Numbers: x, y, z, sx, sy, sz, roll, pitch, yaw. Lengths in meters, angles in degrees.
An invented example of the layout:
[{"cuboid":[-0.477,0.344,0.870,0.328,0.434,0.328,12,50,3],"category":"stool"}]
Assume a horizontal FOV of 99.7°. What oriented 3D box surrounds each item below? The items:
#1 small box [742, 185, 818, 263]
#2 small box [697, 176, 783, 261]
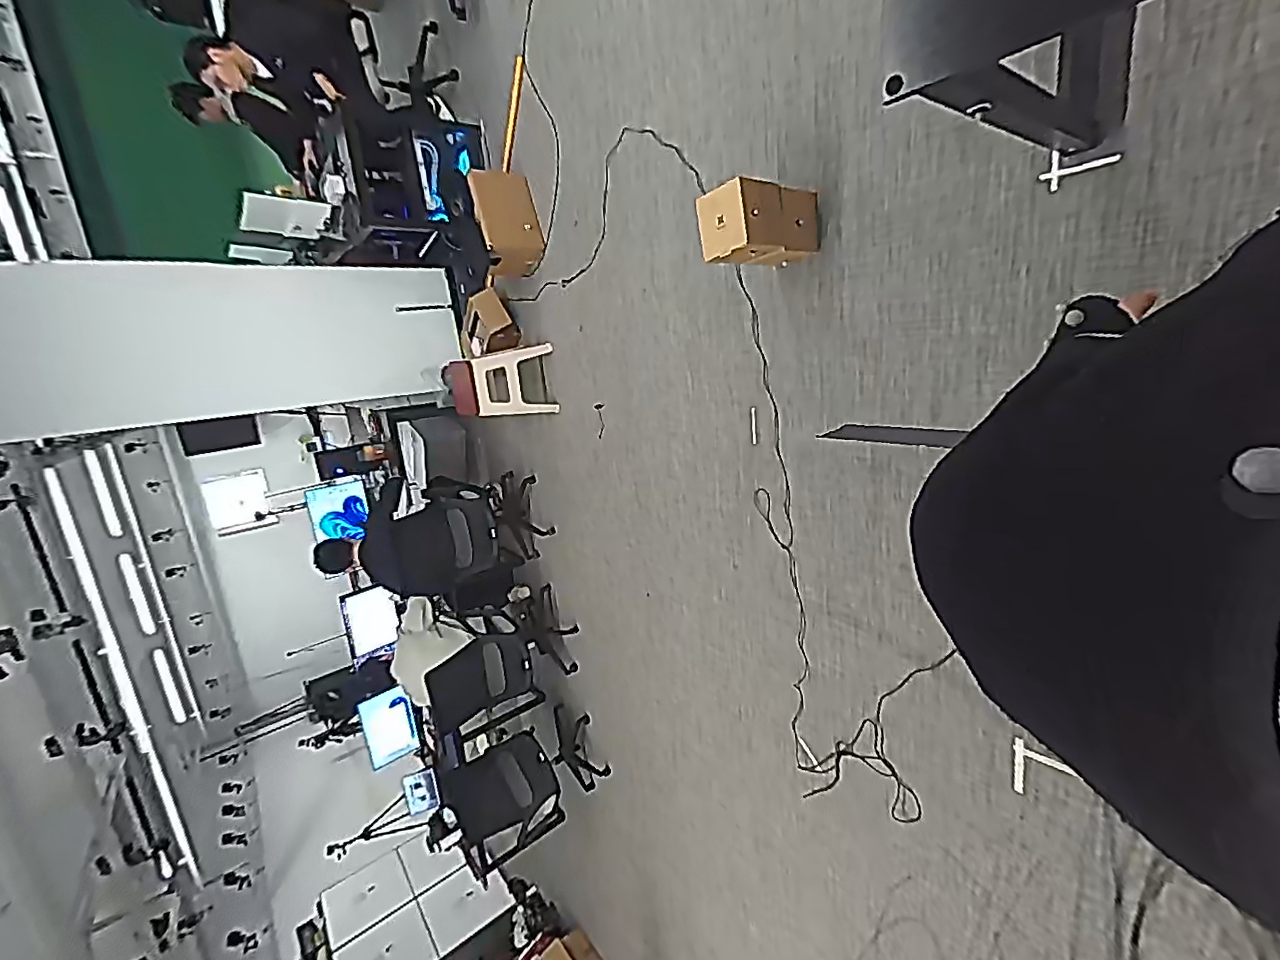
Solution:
[{"cuboid":[0.416,-0.762,1.627,0.168,0.176,0.179,6,108,52],"category":"small box"},{"cuboid":[0.287,-0.731,1.531,0.168,0.176,0.179,1,103,52],"category":"small box"}]
